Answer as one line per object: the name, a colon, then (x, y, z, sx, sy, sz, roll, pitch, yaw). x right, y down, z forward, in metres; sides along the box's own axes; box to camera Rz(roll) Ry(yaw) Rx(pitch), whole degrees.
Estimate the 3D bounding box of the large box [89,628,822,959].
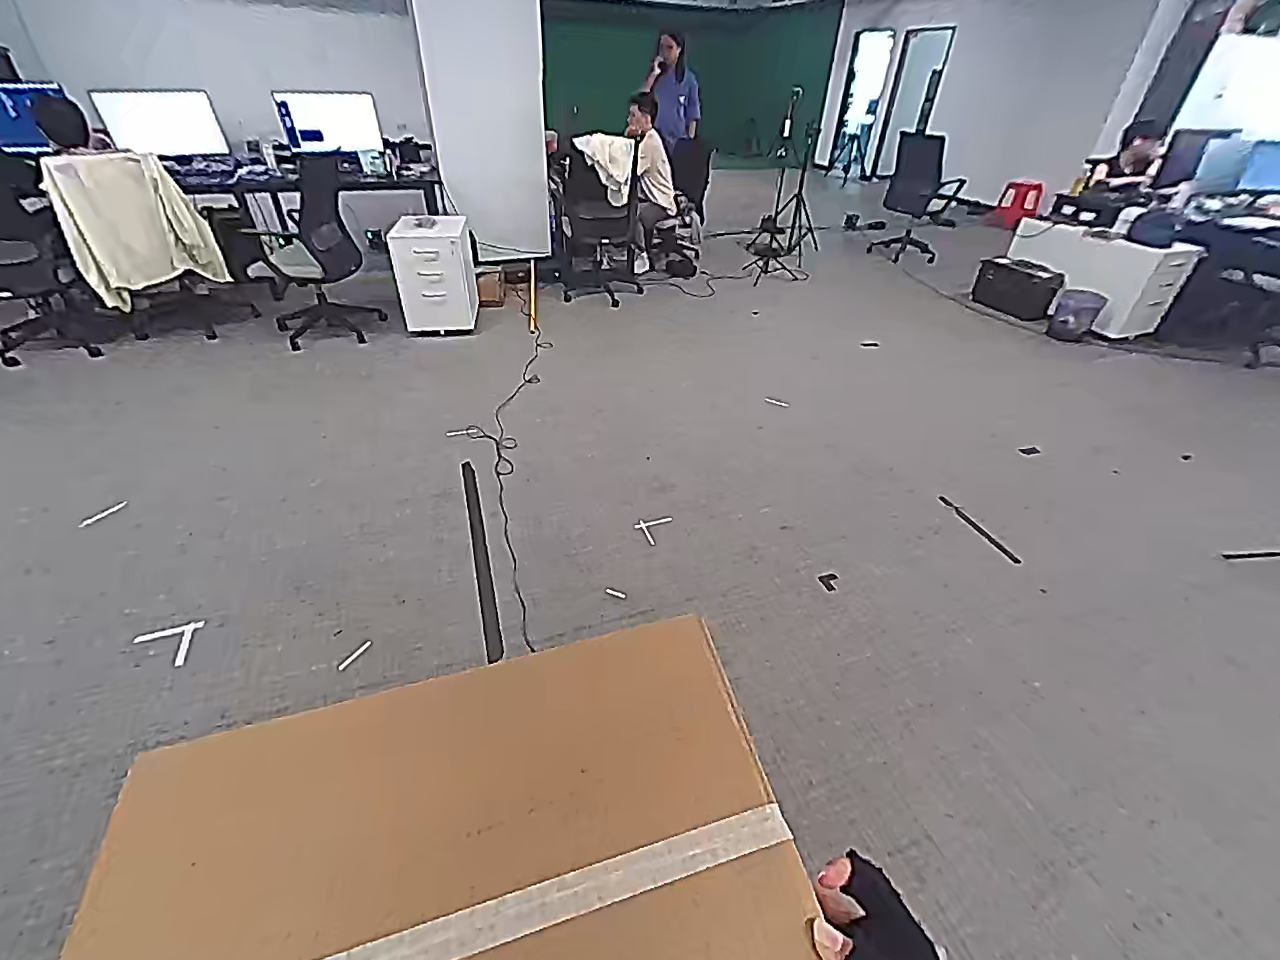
large box: (-0.104, 0.370, 0.416, 0.408, 0.320, 0.320, -12, 45, -11)
